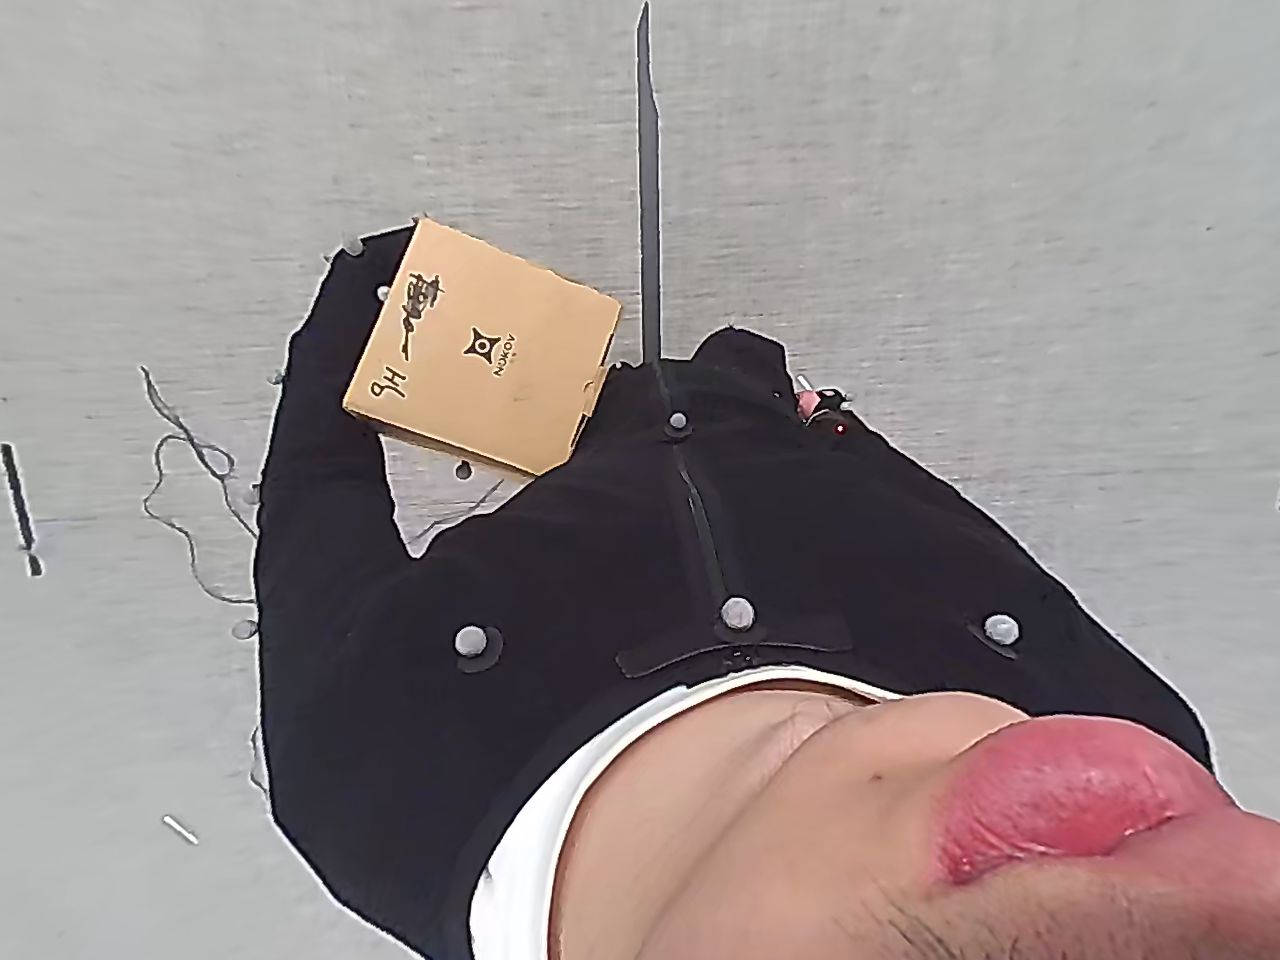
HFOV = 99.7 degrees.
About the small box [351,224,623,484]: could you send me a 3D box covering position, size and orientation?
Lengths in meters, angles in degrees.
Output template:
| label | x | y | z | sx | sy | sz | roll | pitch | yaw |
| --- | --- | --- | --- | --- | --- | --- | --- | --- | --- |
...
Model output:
| label | x | y | z | sx | sy | sz | roll | pitch | yaw |
| --- | --- | --- | --- | --- | --- | --- | --- | --- | --- |
| small box | -0.138 | -0.099 | 0.519 | 0.179 | 0.176 | 0.168 | 20 | 81 | -13 |
